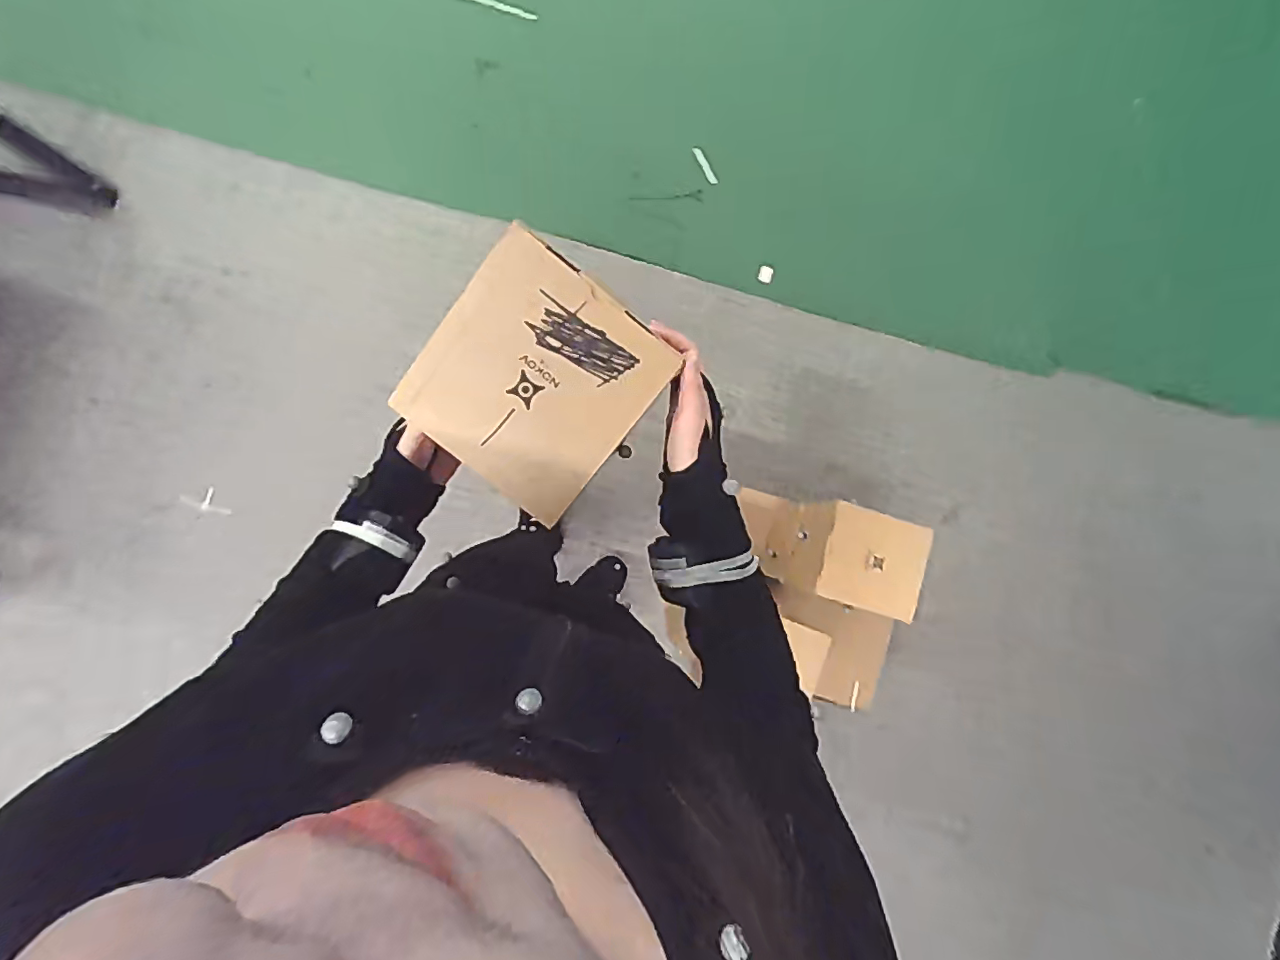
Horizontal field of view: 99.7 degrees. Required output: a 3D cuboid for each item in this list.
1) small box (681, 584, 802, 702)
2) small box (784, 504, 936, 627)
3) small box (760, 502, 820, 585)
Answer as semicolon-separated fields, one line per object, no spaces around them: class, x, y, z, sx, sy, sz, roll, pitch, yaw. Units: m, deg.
small box;0.200;0.324;1.115;0.179;0.176;0.168;21;85;-3
small box;0.387;0.148;0.980;0.179;0.176;0.168;19;84;-1
small box;0.374;0.155;1.143;0.179;0.176;0.168;19;84;-3
